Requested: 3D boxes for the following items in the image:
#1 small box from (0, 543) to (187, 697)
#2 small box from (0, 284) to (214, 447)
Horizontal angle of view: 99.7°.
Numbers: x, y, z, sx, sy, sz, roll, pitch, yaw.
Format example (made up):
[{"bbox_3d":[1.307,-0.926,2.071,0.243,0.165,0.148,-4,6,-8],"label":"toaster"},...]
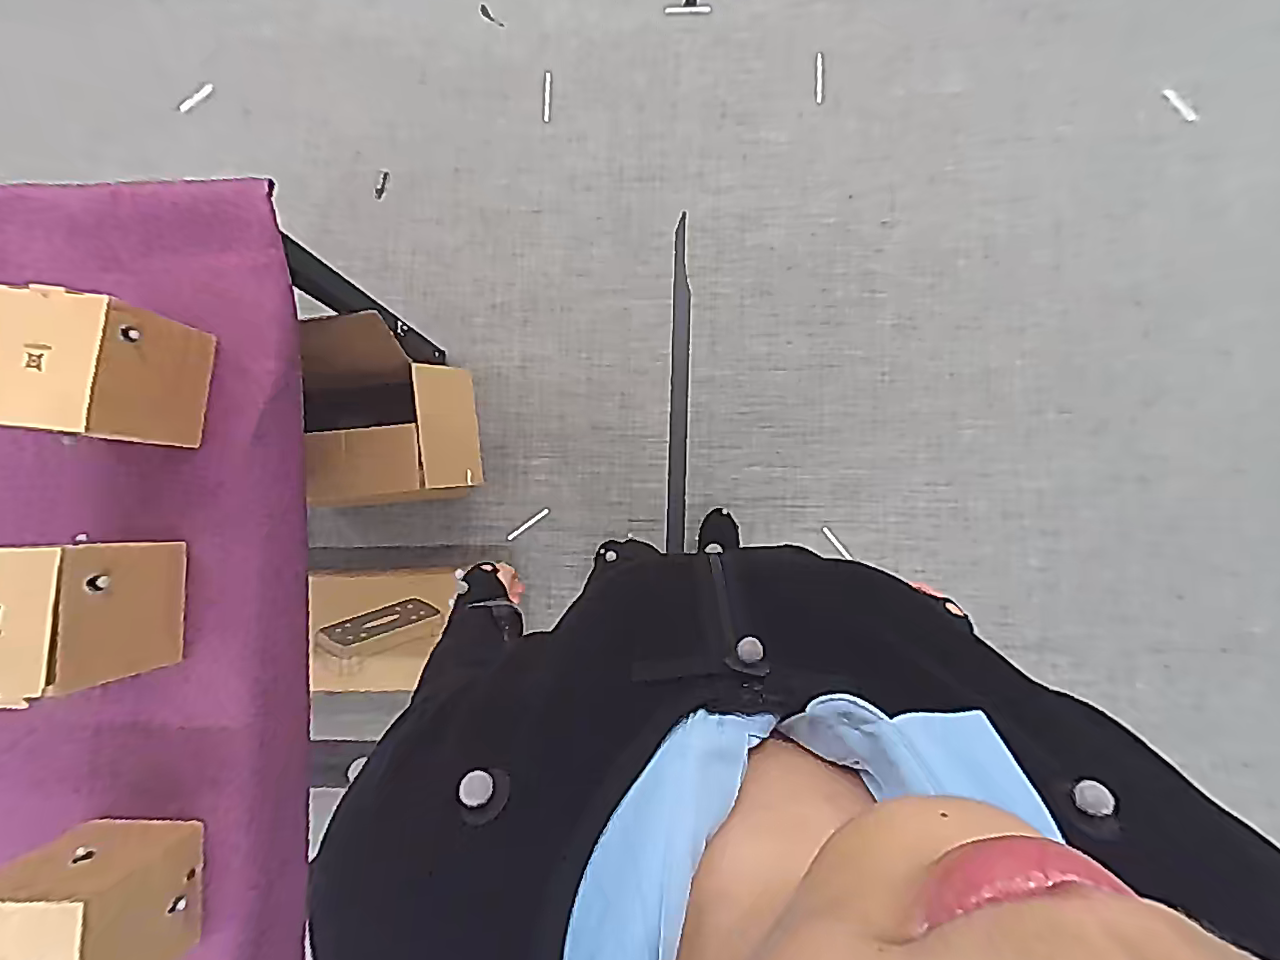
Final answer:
[{"bbox_3d":[-0.749,0.173,0.716,0.168,0.176,0.179,-2,86,5],"label":"small box"},{"bbox_3d":[-0.732,-0.144,0.739,0.168,0.176,0.179,6,86,3],"label":"small box"}]
